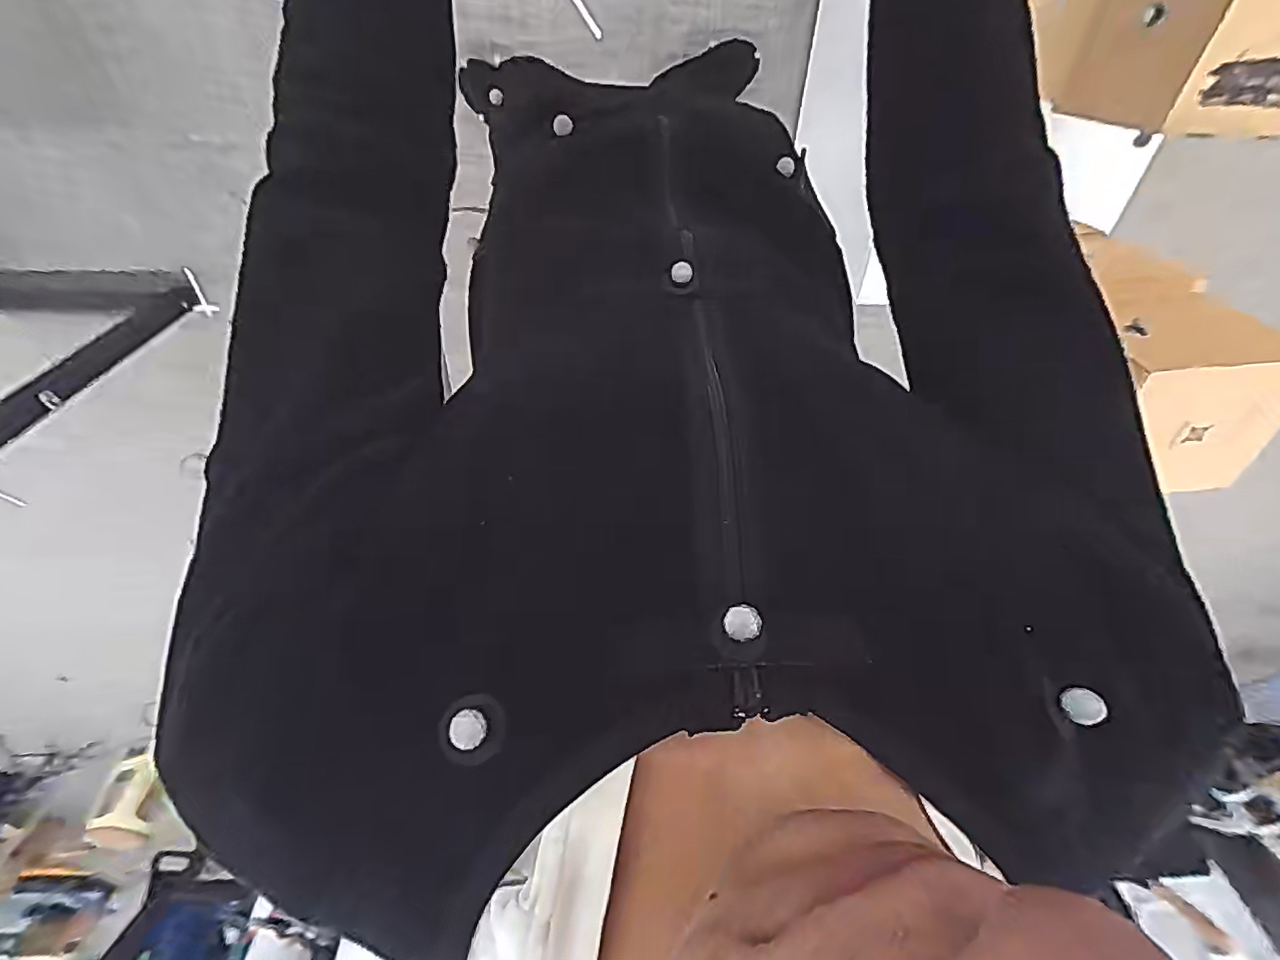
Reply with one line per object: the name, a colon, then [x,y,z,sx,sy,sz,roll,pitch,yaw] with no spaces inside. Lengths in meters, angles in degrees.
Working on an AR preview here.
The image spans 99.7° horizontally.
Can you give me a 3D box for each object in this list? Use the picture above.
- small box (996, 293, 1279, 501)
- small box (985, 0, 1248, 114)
small box: [0.553,-0.097,0.615,0.179,0.176,0.168,-6,131,0]
small box: [0.568,-0.556,0.654,0.179,0.176,0.168,-1,132,-4]
